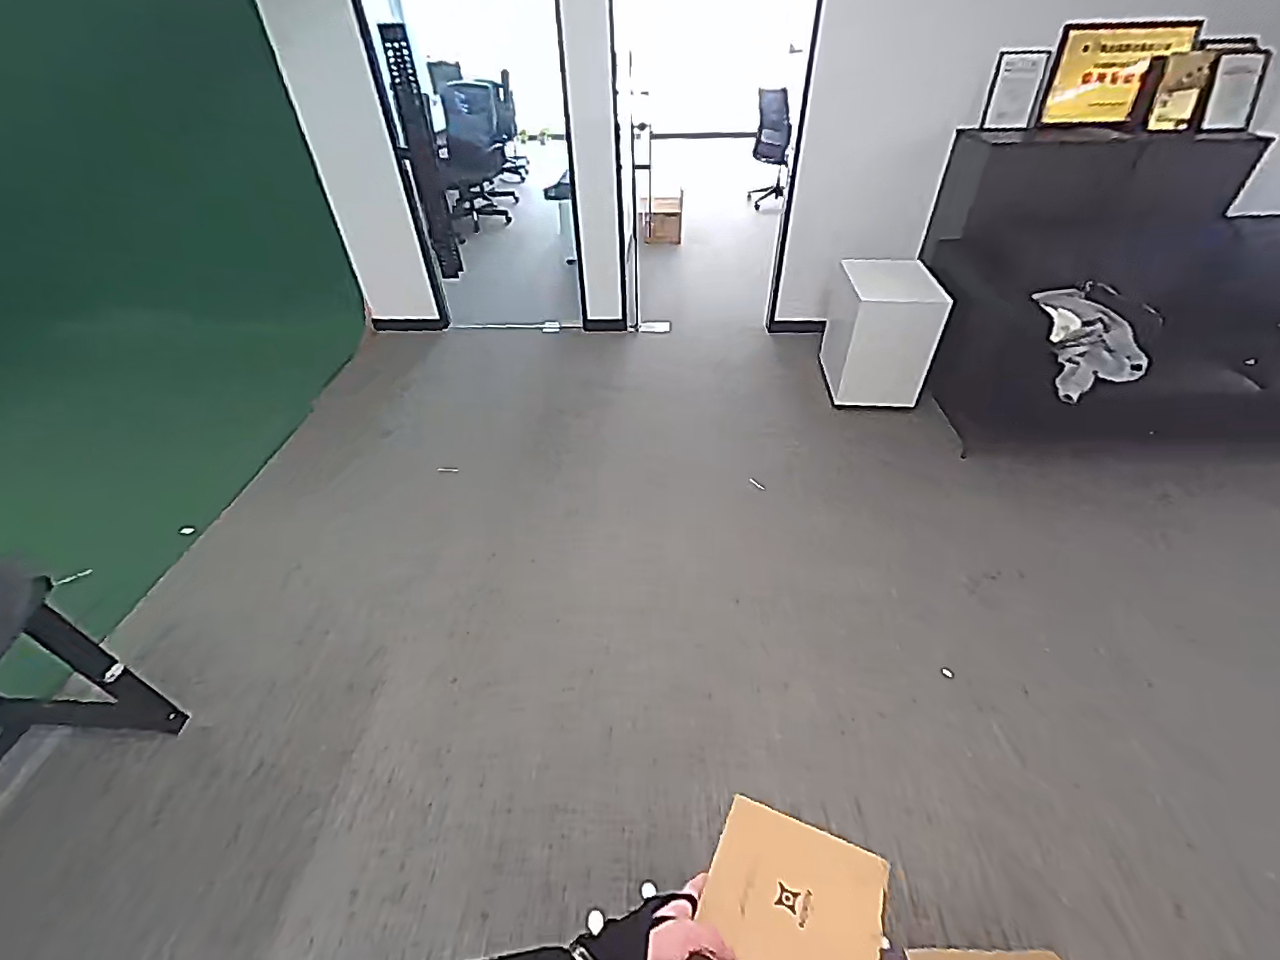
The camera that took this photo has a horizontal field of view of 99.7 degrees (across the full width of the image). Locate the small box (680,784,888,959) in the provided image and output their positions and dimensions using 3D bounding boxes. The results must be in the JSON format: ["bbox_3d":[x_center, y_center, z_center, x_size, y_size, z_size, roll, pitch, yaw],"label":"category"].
[{"bbox_3d":[0.157,0.492,0.598,0.179,0.176,0.168,12,32,27],"label":"small box"}]
